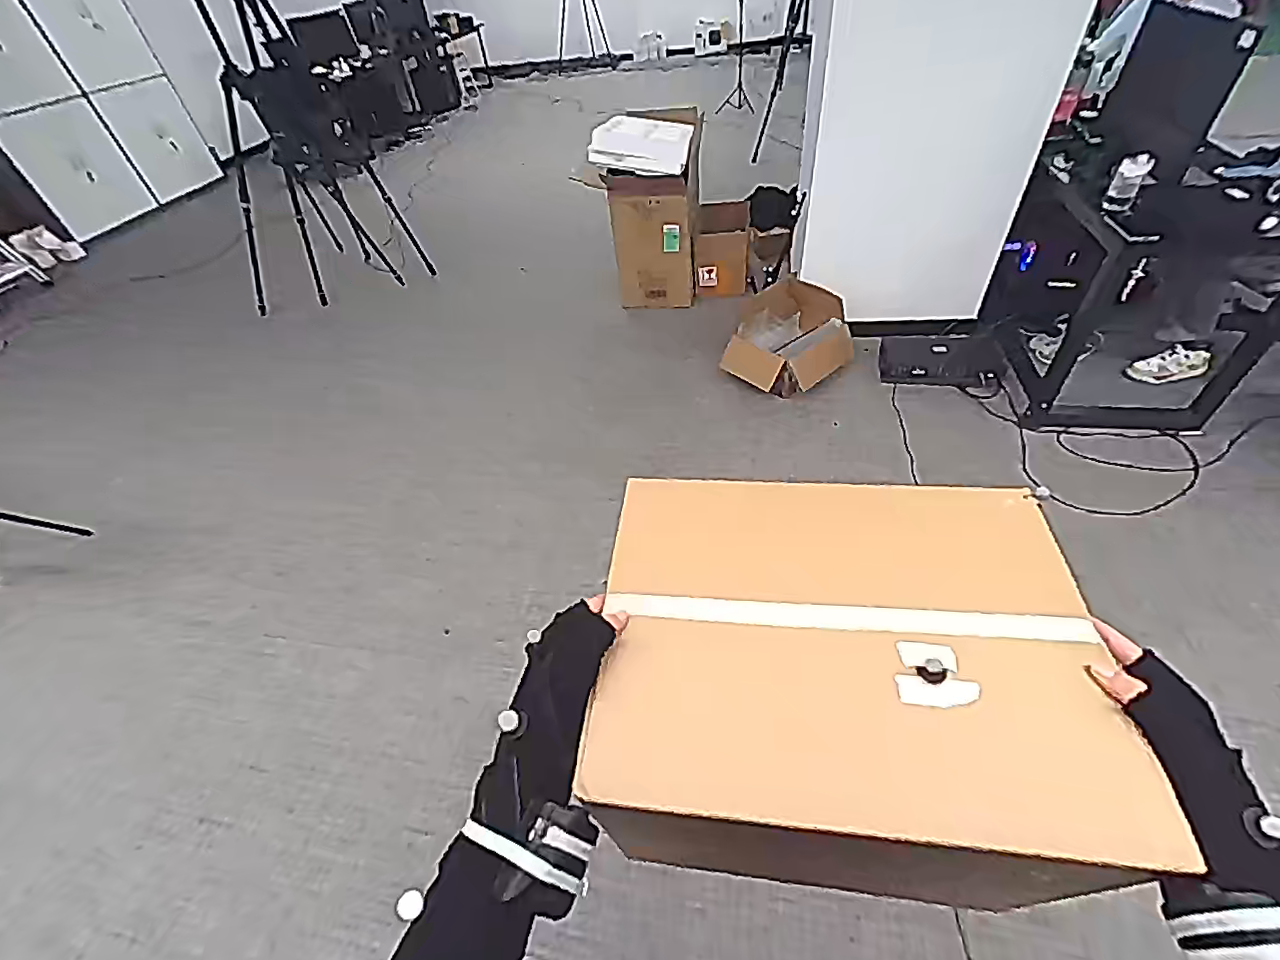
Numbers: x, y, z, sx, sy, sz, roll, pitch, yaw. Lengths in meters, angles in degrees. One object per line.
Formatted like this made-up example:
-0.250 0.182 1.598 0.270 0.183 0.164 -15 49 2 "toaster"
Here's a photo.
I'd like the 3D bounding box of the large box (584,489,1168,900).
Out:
0.180 0.226 0.587 0.408 0.320 0.320 1 48 9 "large box"
